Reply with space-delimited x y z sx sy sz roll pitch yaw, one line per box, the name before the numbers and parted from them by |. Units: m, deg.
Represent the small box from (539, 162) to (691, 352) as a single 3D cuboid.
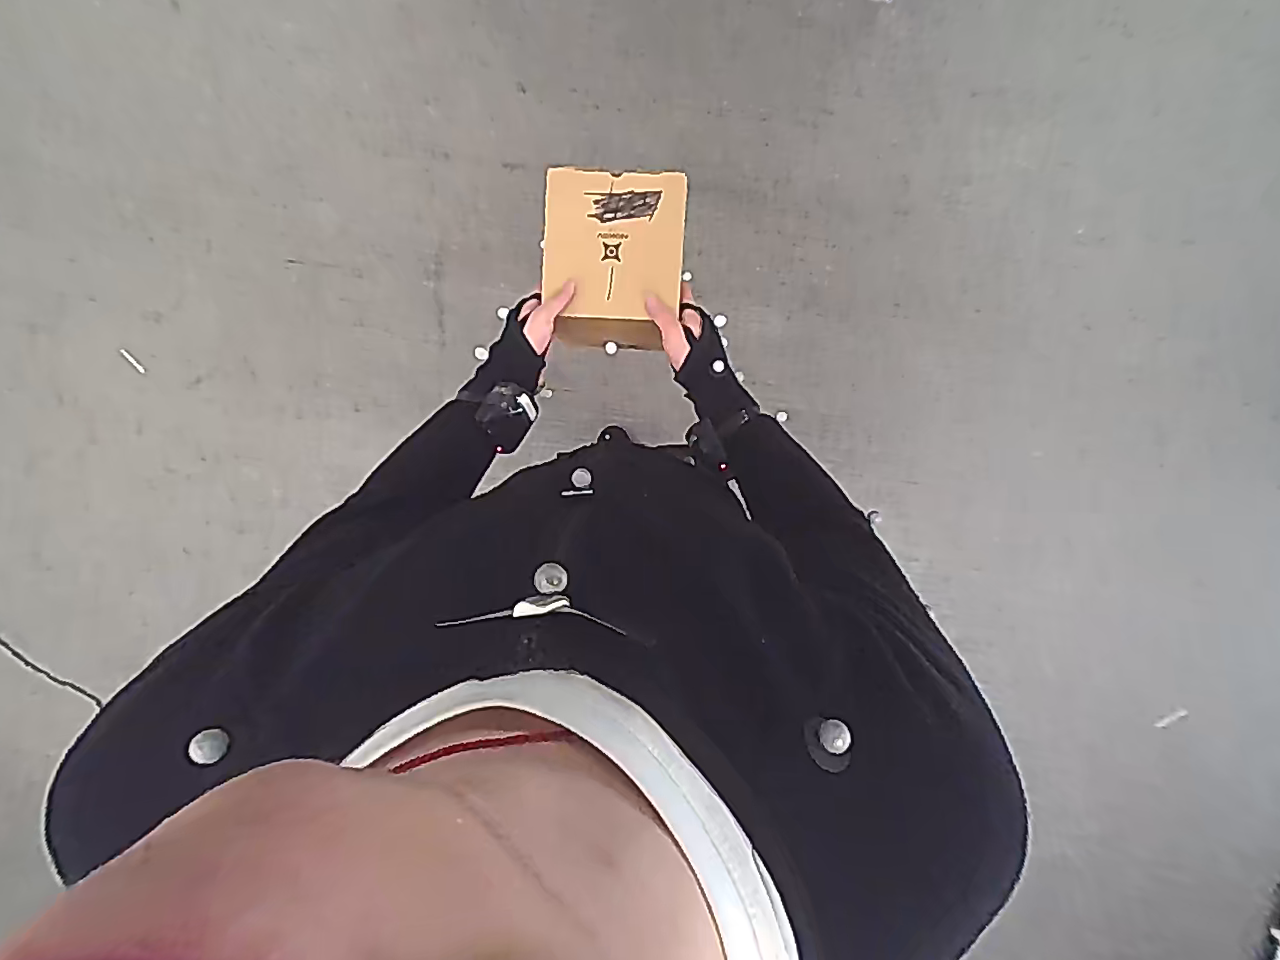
small box | -0.029 -0.279 0.711 0.168 0.176 0.179 6 92 1
